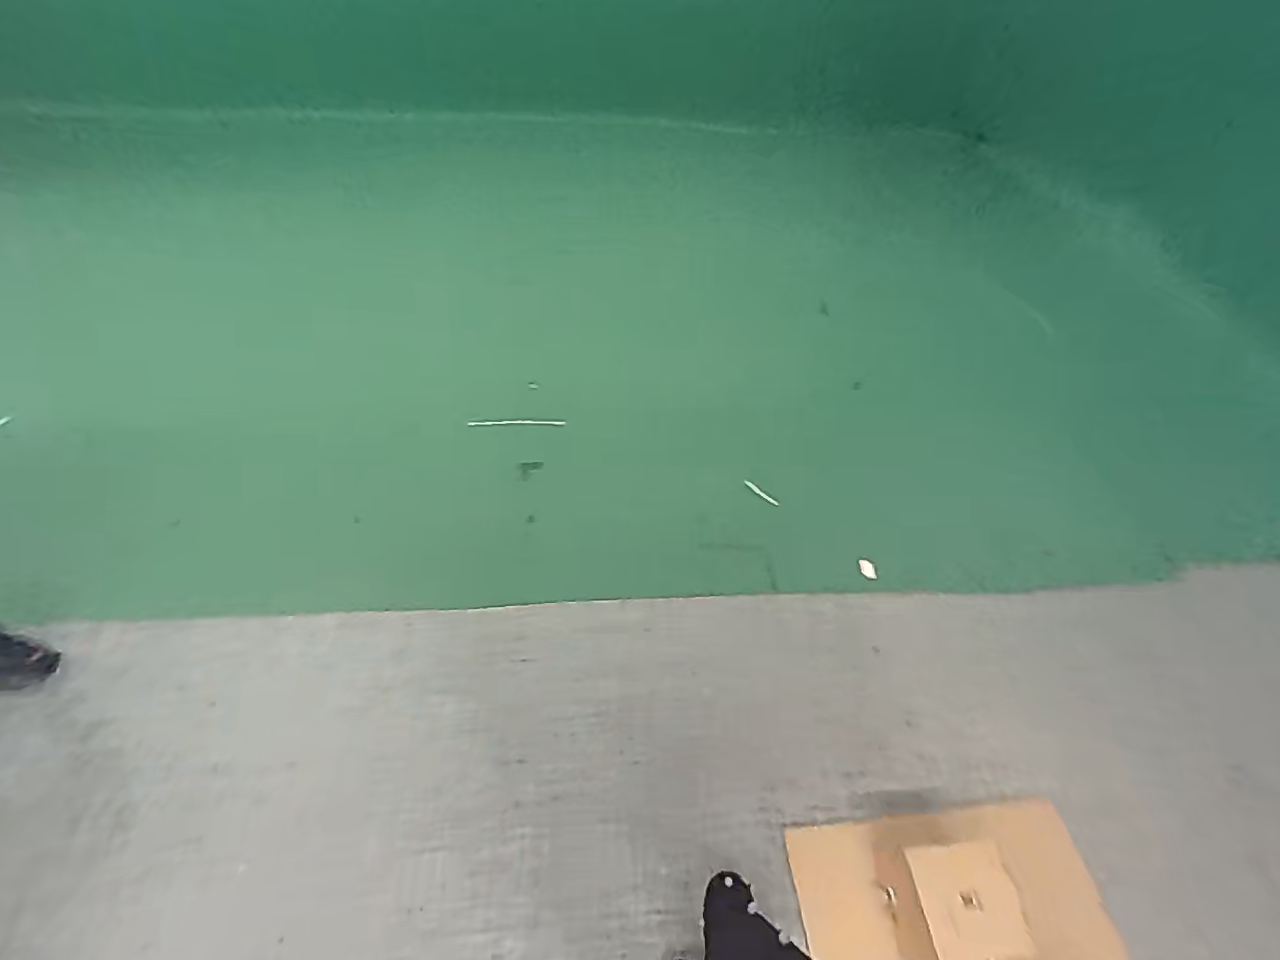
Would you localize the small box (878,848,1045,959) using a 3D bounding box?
[{"bbox_3d":[0.572,0.784,0.990,0.179,0.176,0.168,-3,52,-4],"label":"small box"}]
